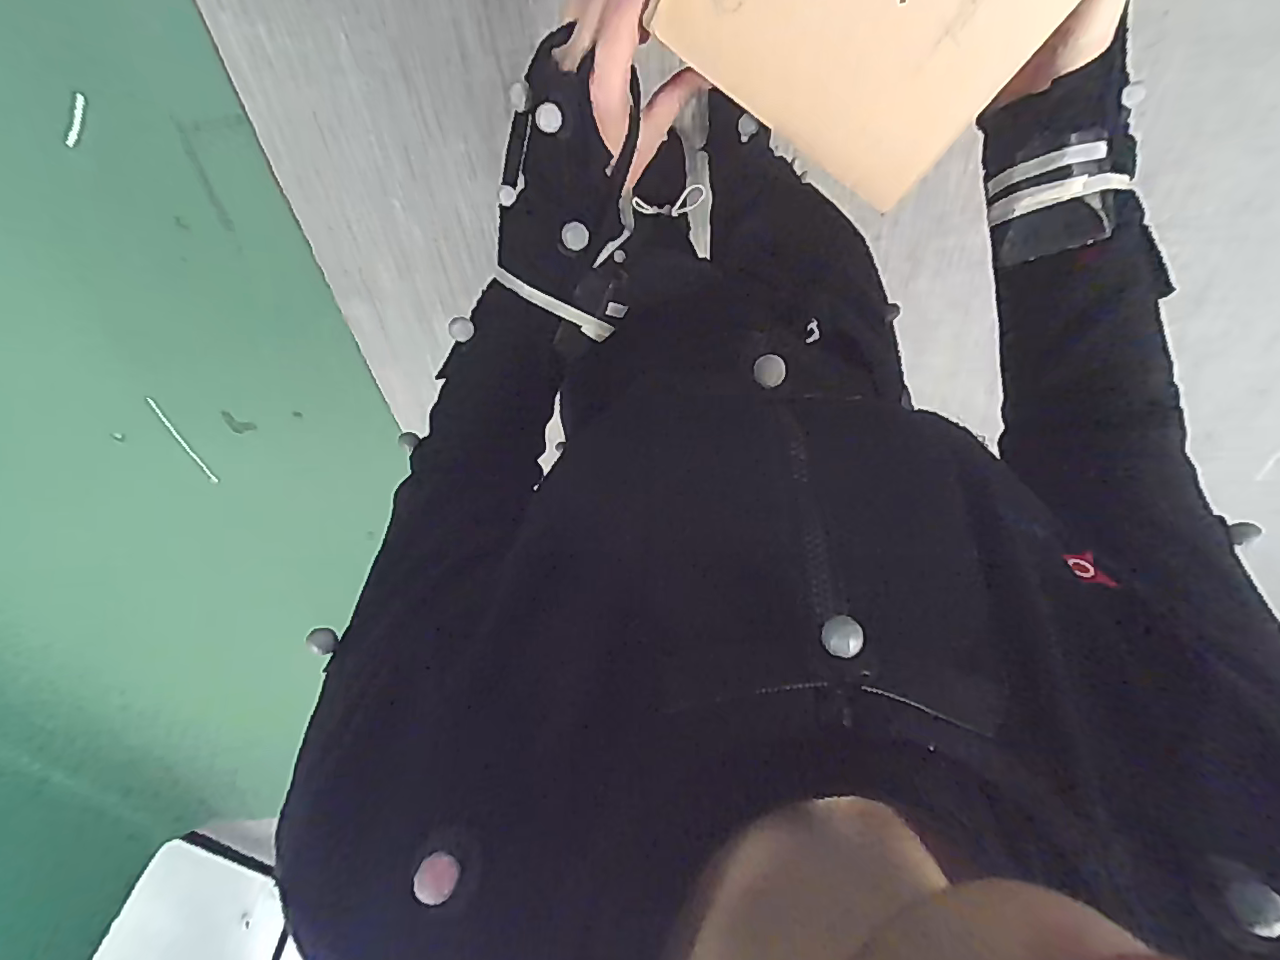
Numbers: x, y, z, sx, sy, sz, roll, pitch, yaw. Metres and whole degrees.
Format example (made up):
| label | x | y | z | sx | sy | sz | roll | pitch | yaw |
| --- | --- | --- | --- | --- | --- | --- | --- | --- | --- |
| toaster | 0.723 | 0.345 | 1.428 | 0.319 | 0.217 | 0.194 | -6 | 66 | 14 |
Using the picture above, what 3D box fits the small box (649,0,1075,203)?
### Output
| label | x | y | z | sx | sy | sz | roll | pitch | yaw |
| --- | --- | --- | --- | --- | --- | --- | --- | --- | --- |
| small box | 0.116 | -0.298 | 0.293 | 0.179 | 0.176 | 0.168 | 20 | 135 | -24 |
